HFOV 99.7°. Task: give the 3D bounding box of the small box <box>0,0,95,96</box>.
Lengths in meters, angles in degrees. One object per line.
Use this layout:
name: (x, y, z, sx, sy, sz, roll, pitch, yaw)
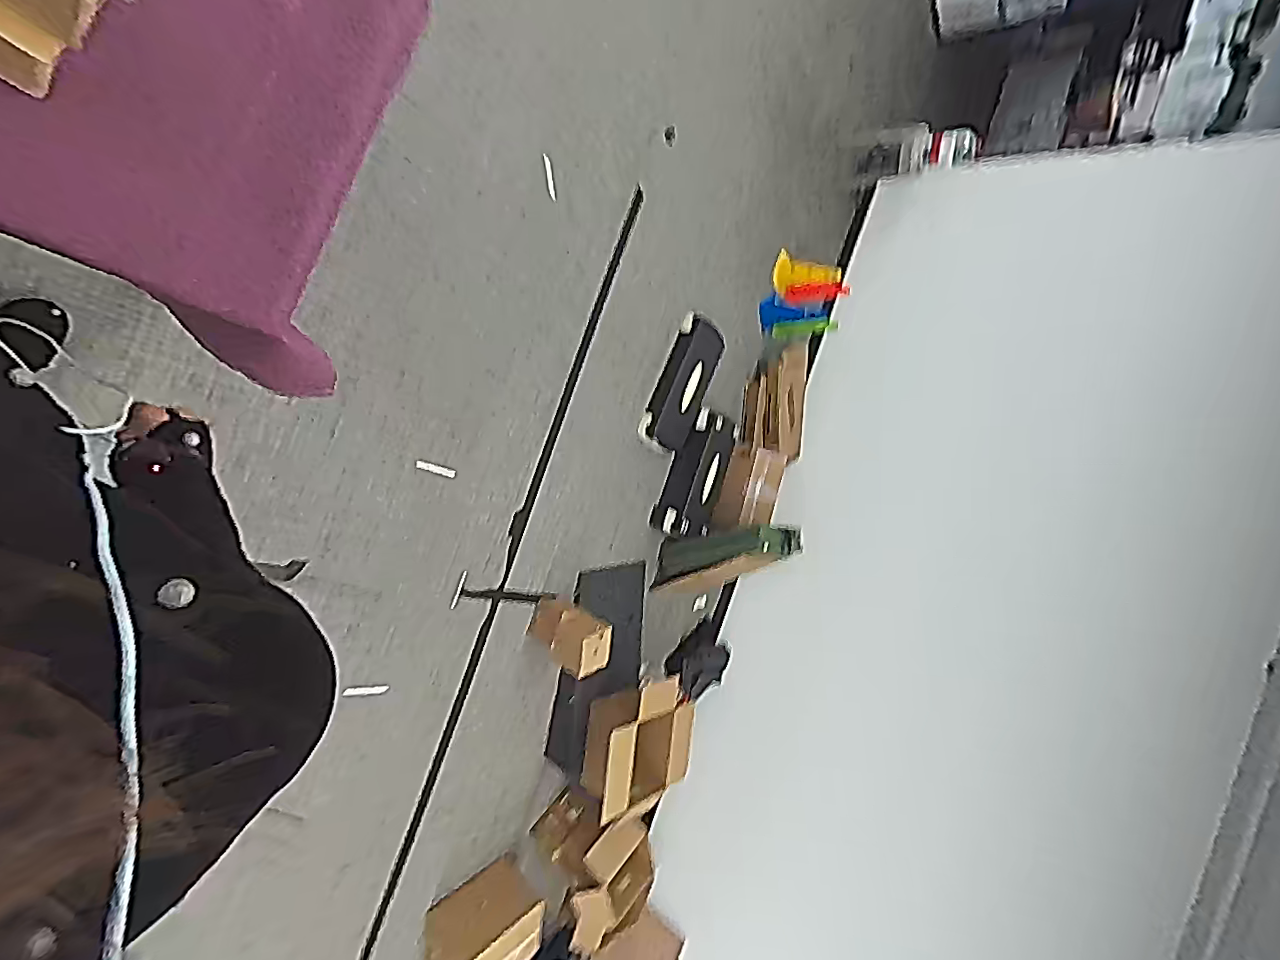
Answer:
small box: (-0.592, -0.480, 0.466, 0.168, 0.176, 0.179, 27, 82, -52)
